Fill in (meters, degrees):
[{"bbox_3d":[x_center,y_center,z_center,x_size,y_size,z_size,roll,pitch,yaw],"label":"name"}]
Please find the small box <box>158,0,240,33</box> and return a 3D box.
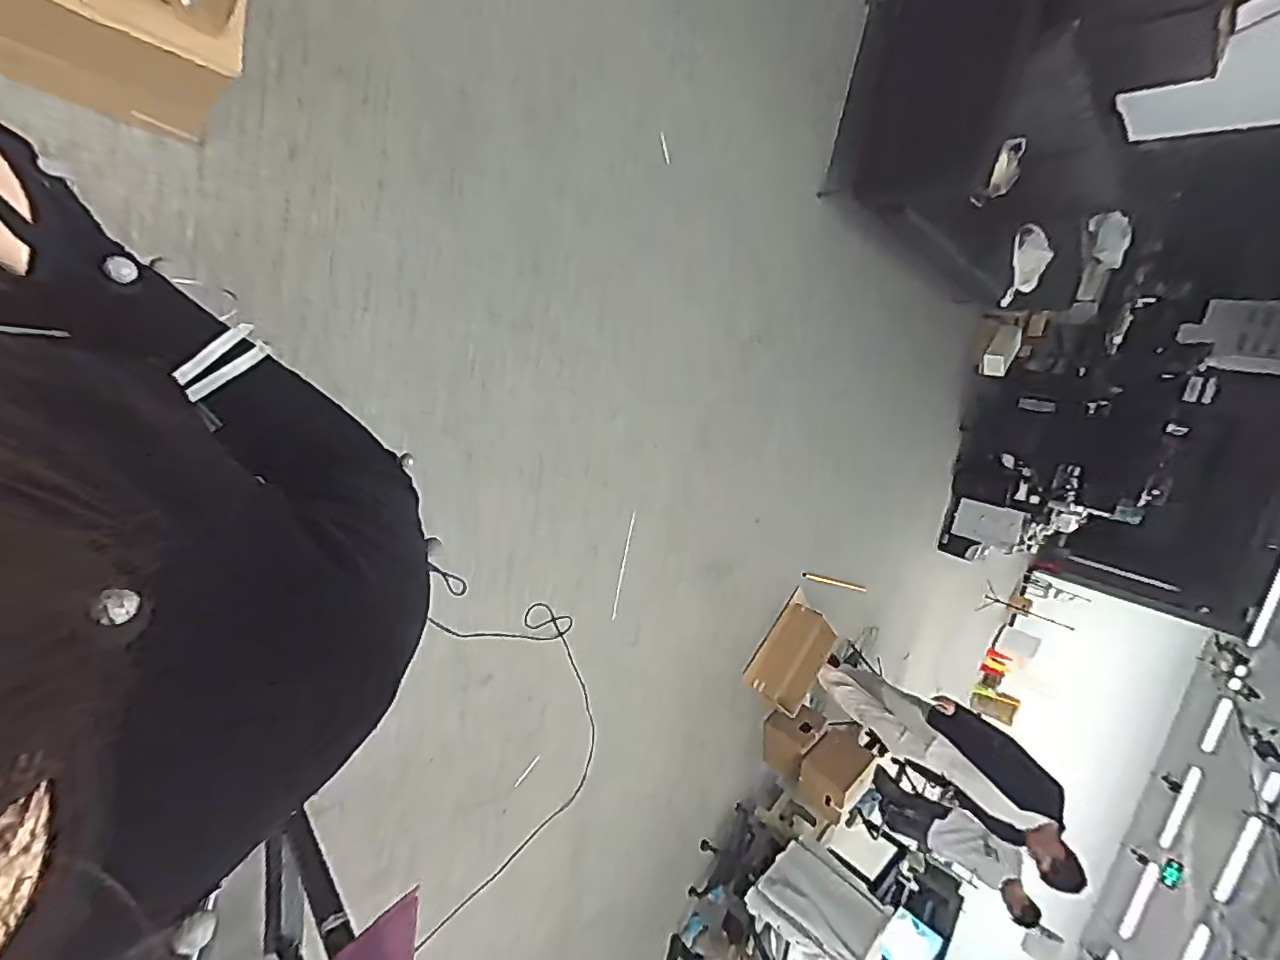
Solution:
[{"bbox_3d":[-0.538,-0.656,0.601,0.168,0.176,0.179,6,100,-45],"label":"small box"}]
